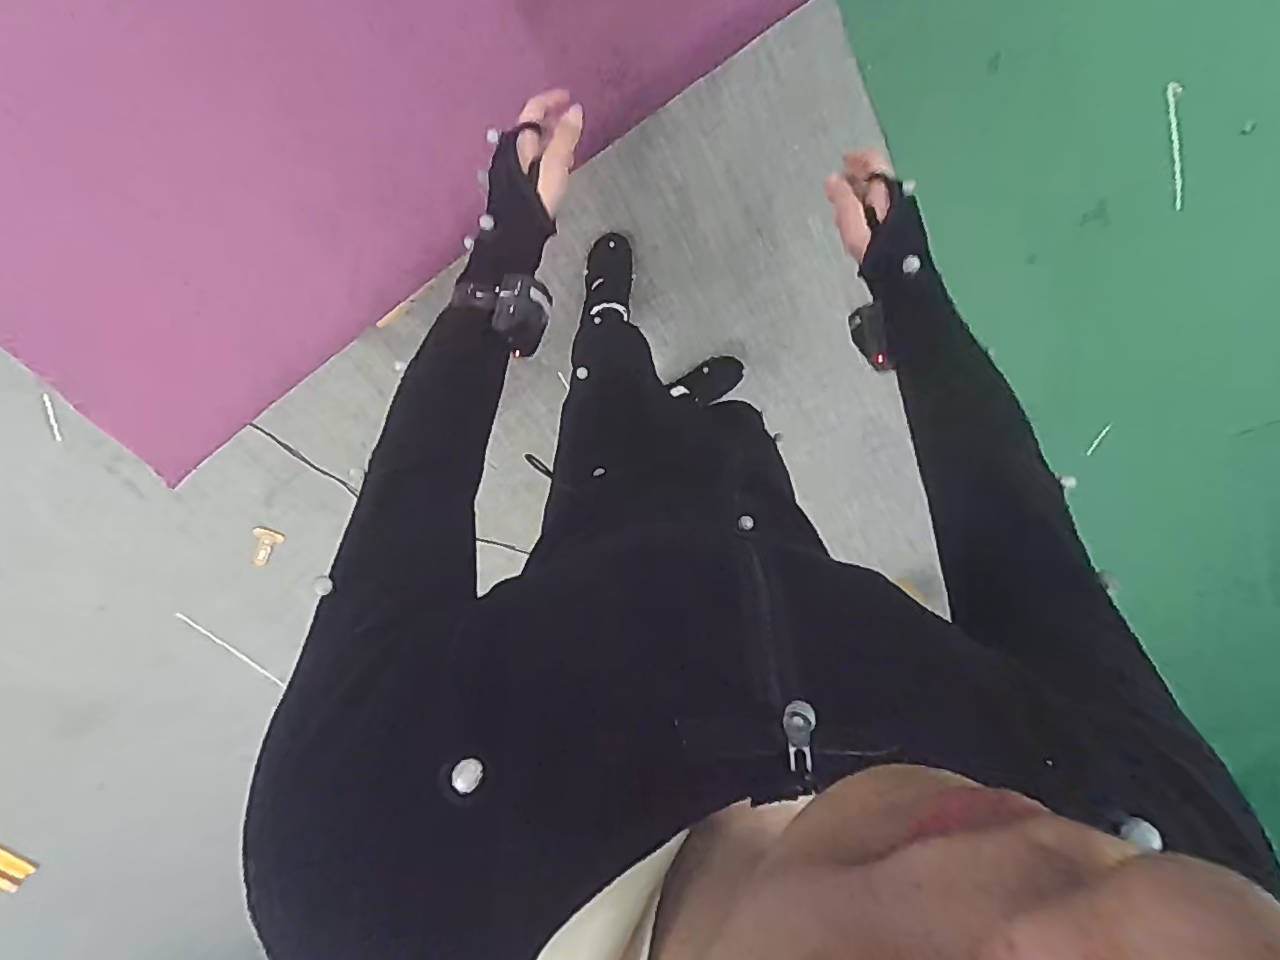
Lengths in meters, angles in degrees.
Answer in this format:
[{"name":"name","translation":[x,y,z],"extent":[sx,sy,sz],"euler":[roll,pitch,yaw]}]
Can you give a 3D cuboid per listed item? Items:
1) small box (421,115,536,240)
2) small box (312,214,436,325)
[{"name":"small box","translation":[-0.348,-0.667,1.204],"extent":[0.179,0.176,0.168],"euler":[-37,114,14]},{"name":"small box","translation":[-0.610,-0.498,1.267],"extent":[0.168,0.176,0.179],"euler":[-39,114,15]}]
